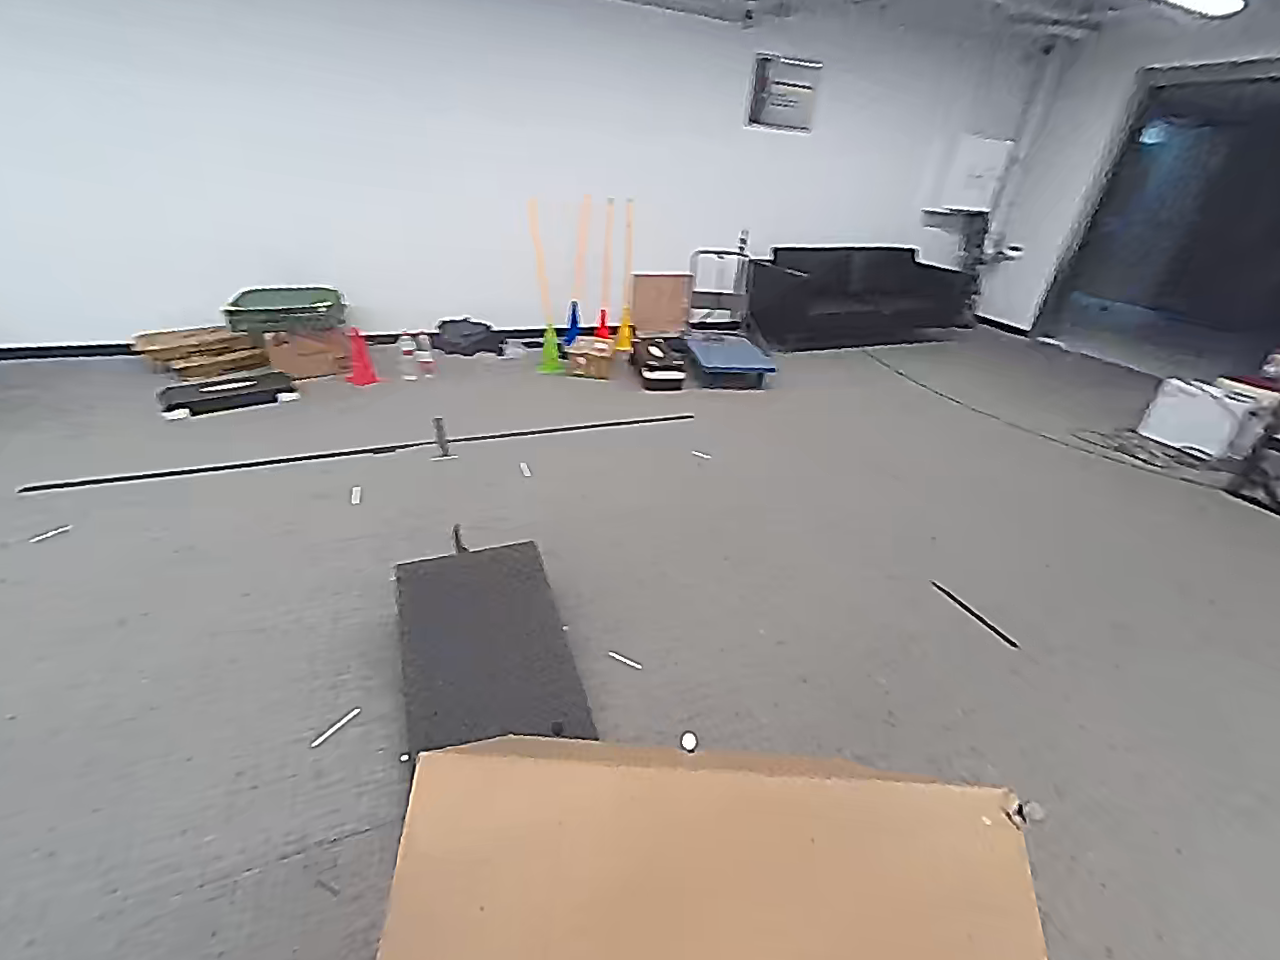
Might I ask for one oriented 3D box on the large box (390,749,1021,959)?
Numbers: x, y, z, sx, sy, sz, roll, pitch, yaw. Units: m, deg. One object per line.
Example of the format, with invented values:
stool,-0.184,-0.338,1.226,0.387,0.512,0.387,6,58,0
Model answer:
large box,0.033,0.405,0.454,0.408,0.320,0.320,3,68,-2
